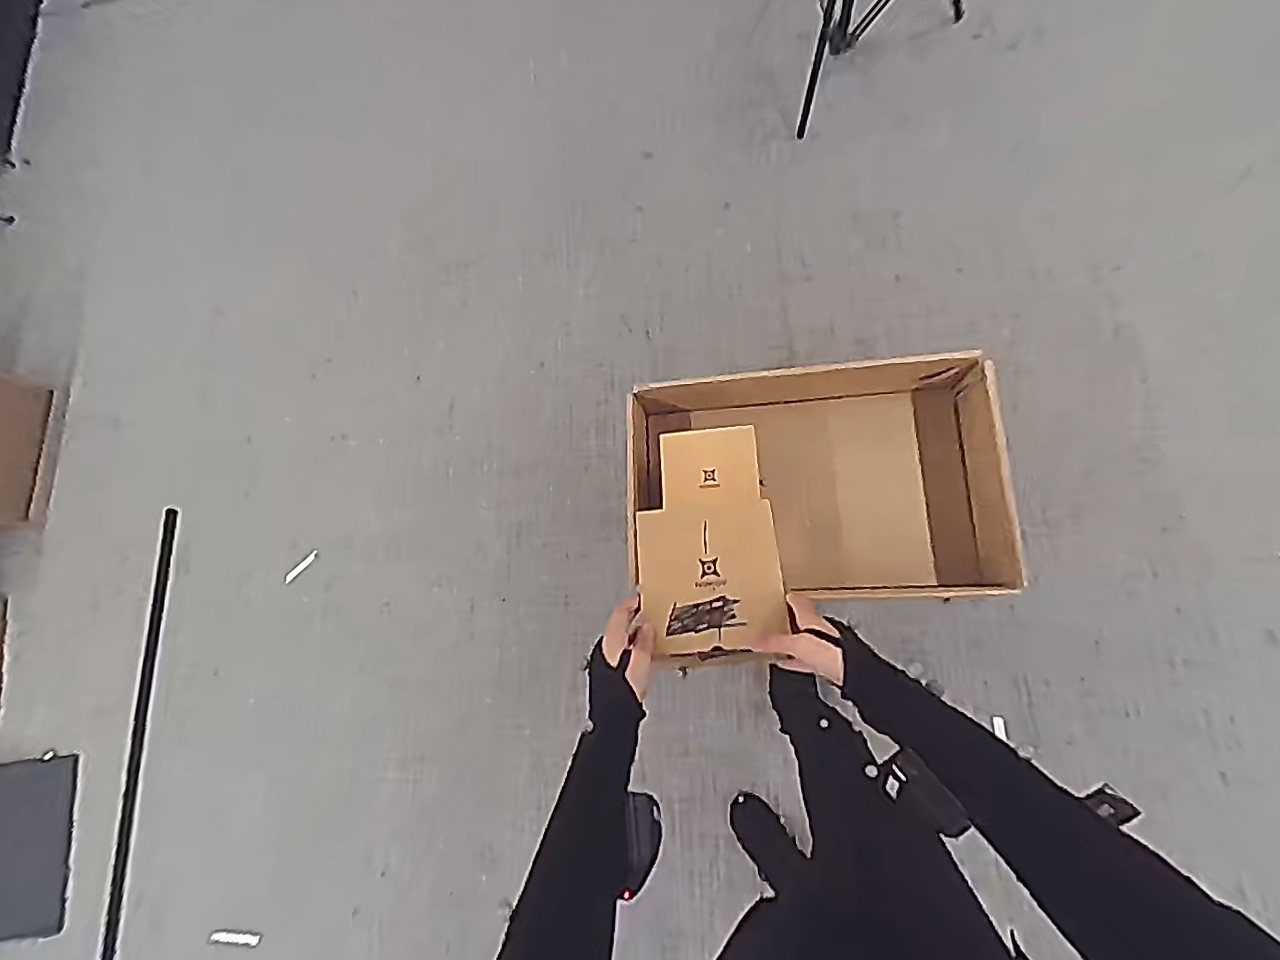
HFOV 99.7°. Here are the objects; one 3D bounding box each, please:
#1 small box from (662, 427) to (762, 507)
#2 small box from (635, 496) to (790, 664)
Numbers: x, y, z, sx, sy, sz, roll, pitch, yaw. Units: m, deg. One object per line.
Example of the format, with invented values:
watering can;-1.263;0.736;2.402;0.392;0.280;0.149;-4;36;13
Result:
small box;0.136;0.017;0.985;0.168;0.176;0.179;-5;78;11
small box;0.091;0.138;0.694;0.168;0.176;0.179;-7;65;6
